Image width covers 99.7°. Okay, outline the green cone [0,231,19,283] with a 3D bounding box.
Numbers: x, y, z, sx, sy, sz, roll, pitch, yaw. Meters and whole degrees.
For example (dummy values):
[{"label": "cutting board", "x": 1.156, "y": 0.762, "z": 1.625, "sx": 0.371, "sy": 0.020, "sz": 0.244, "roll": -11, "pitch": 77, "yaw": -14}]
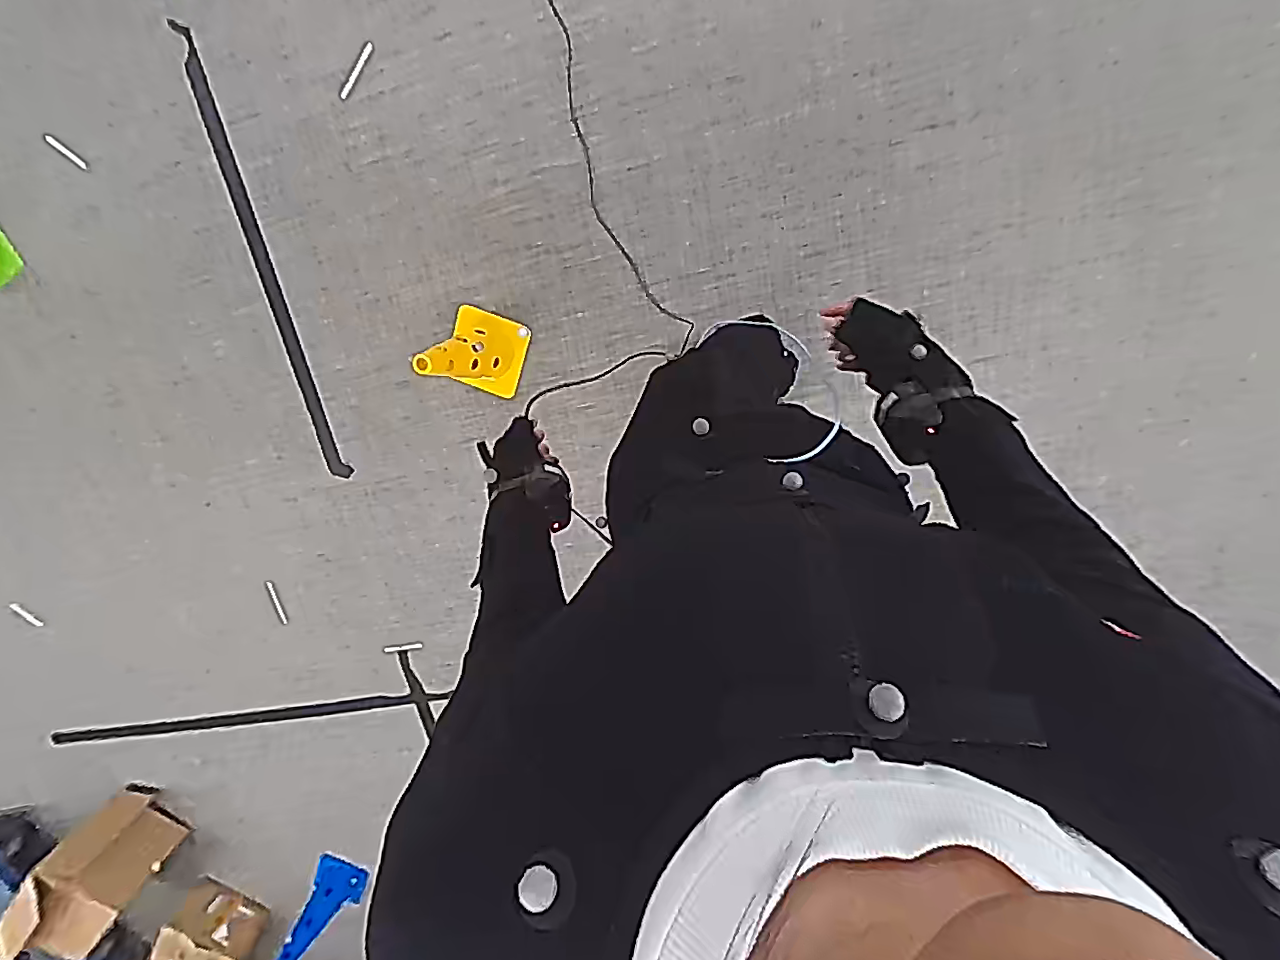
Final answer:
[{"label": "green cone", "x": -1.893, "y": -0.610, "z": 1.366, "sx": 0.200, "sy": 0.368, "sz": 0.202, "roll": -25, "pitch": 101, "yaw": 13}]
